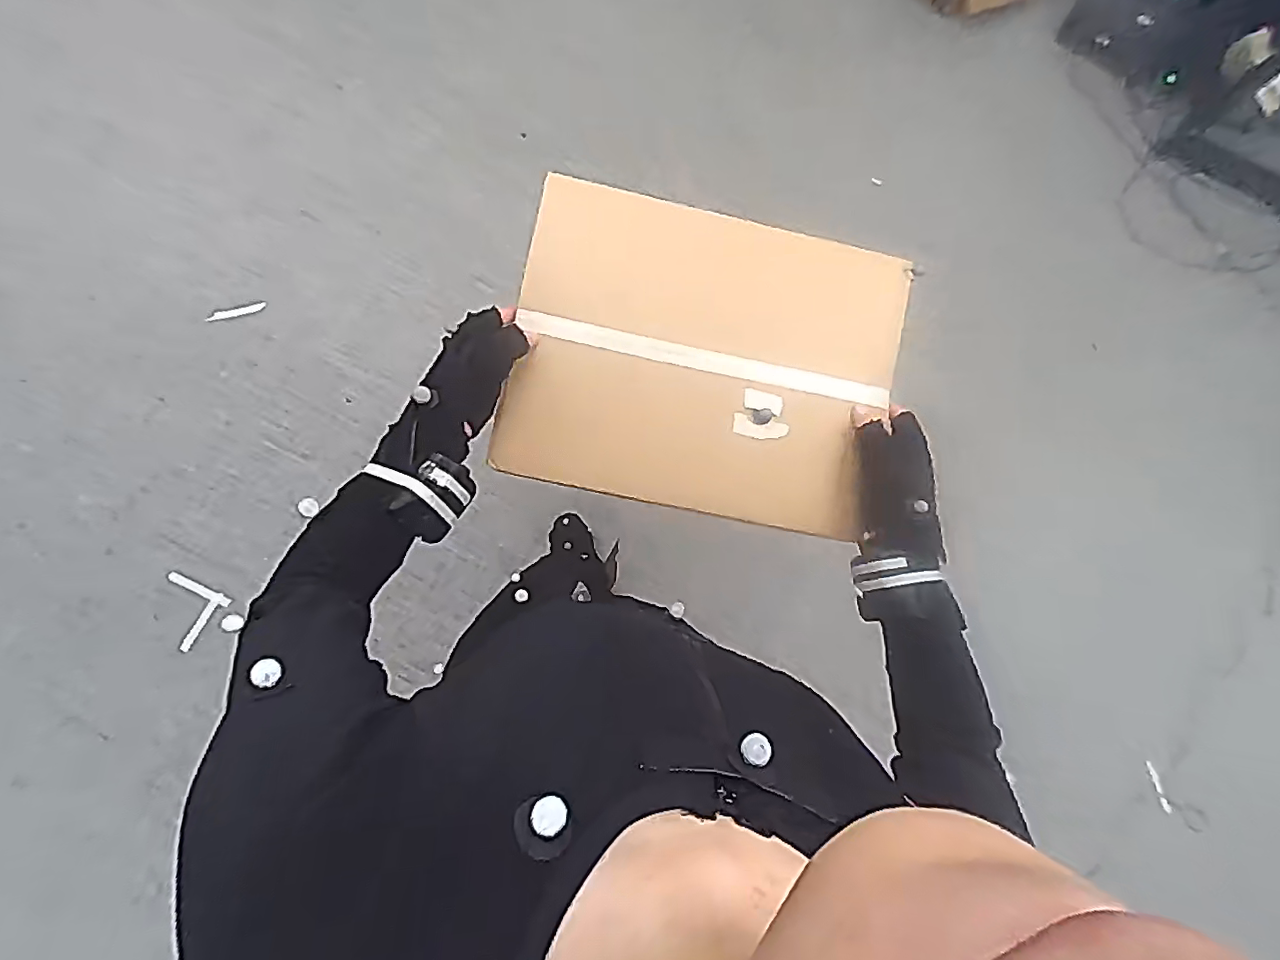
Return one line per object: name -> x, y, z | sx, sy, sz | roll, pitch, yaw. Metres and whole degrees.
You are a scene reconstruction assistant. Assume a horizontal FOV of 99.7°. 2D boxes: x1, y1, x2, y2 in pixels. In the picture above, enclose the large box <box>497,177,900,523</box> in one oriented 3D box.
large box -> 0.054, -0.132, 0.722 | 0.408, 0.320, 0.320 | 11, 89, -5
